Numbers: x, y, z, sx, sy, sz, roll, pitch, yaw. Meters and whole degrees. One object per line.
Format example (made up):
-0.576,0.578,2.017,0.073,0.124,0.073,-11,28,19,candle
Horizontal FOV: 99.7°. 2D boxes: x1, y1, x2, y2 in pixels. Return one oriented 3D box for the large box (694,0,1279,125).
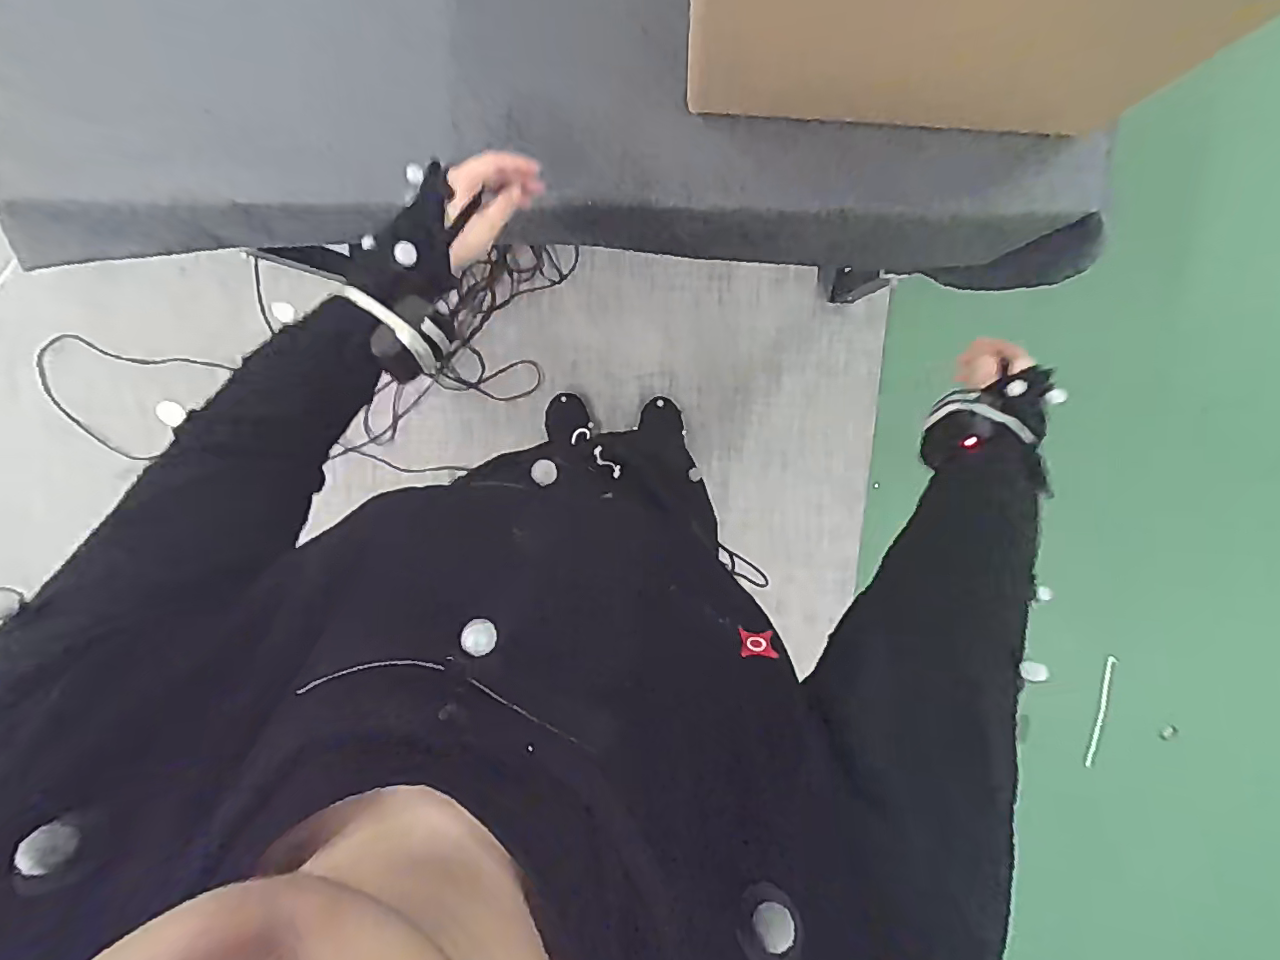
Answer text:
0.255,-0.493,0.378,0.408,0.320,0.320,5,100,1,large box
